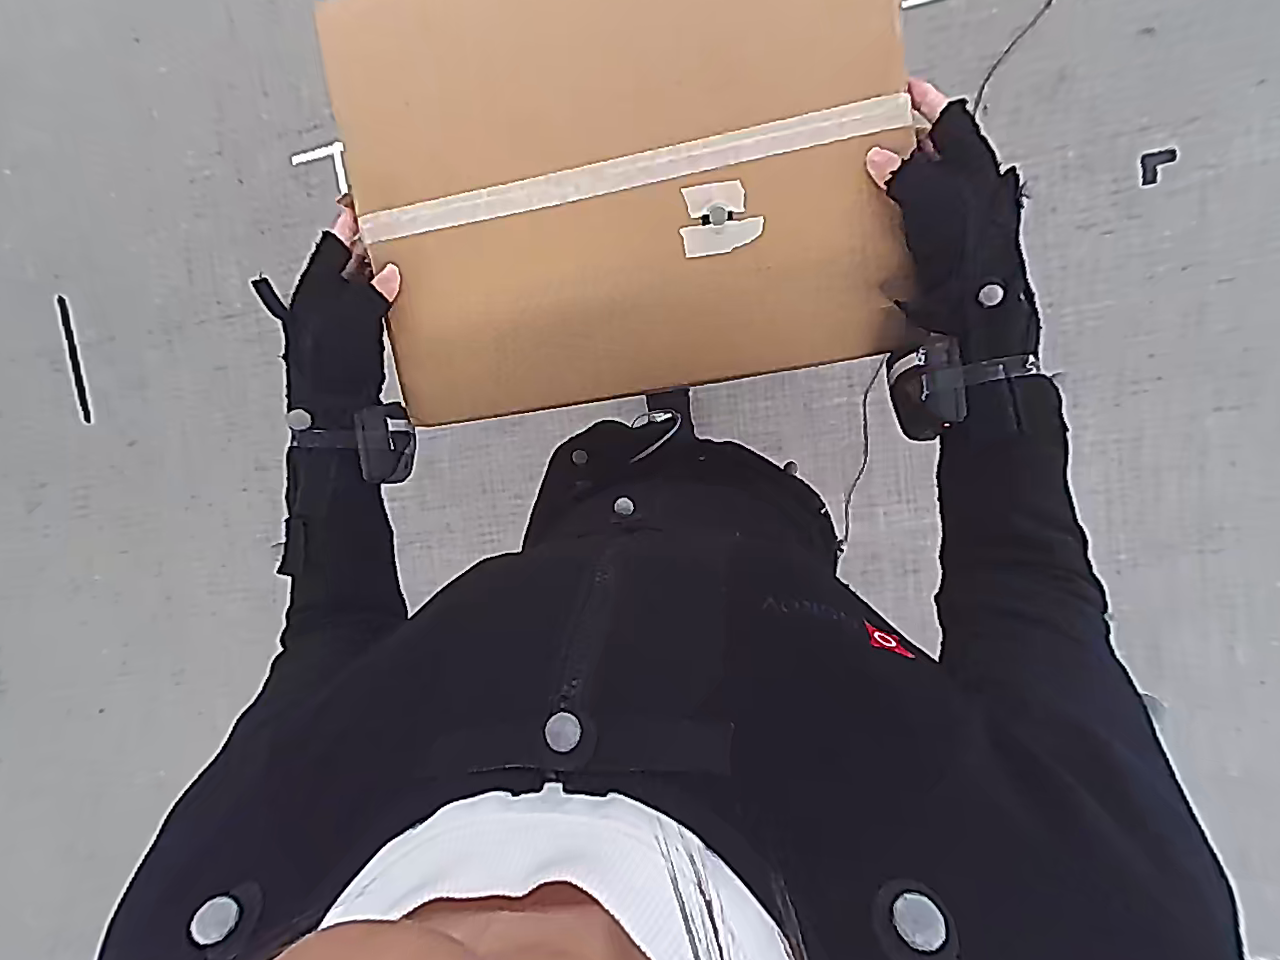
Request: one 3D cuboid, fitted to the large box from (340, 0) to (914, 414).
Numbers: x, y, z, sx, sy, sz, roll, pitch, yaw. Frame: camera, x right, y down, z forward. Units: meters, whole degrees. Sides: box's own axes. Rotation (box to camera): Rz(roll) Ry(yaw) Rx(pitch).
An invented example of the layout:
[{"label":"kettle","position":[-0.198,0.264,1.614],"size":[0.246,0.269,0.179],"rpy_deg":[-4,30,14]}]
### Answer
[{"label":"large box","position":[0.002,-0.259,0.554],"size":[0.408,0.320,0.320],"rpy_deg":[-8,100,8]}]
